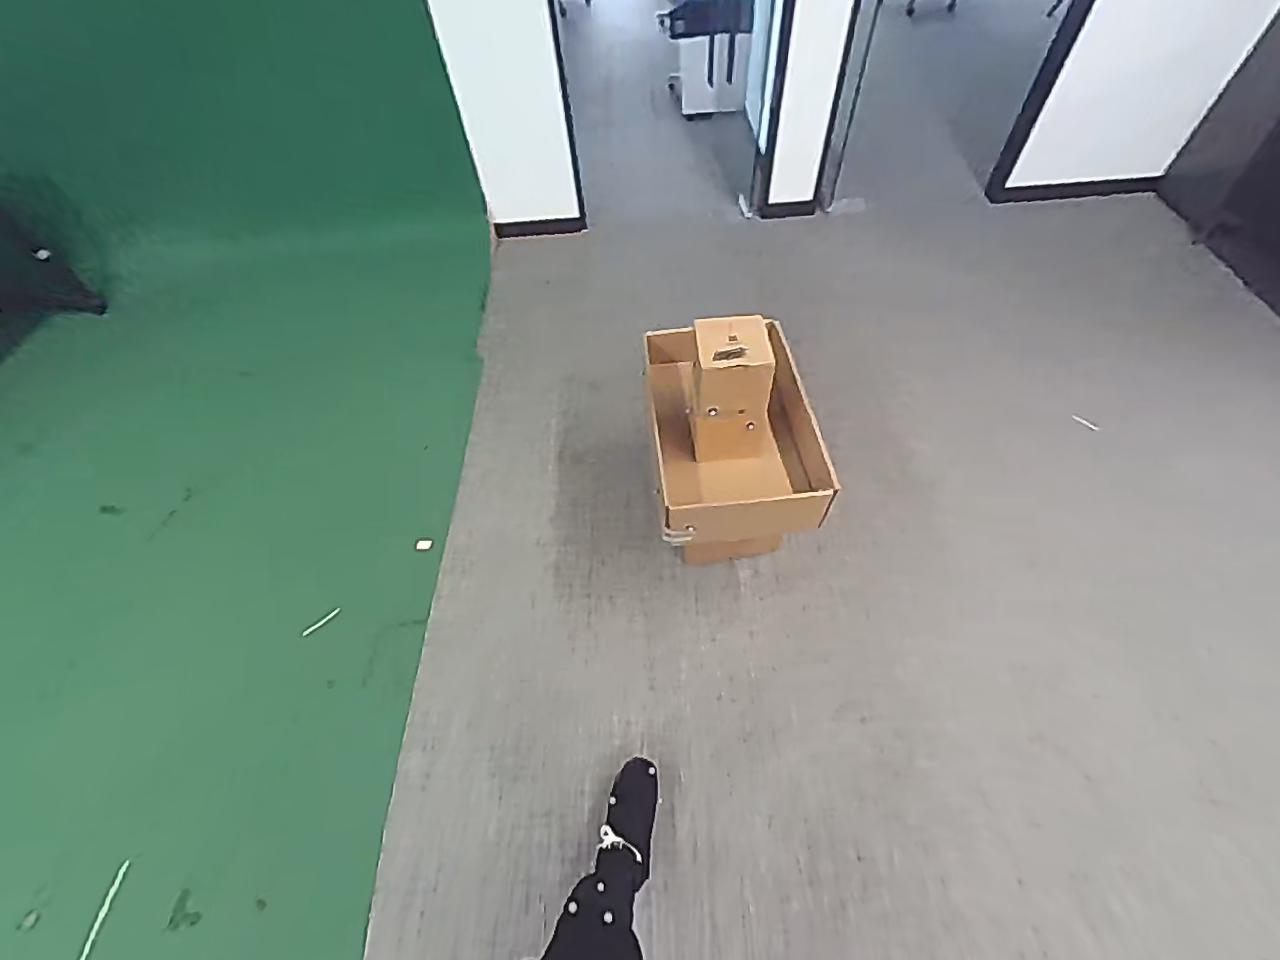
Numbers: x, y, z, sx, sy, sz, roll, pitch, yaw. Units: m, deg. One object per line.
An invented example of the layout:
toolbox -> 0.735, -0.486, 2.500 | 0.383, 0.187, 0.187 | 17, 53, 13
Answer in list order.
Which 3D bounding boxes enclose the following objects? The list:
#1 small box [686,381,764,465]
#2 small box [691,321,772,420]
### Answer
small box -> 0.218, -0.154, 1.426 | 0.179, 0.176, 0.168 | -5, 53, -1
small box -> 0.211, -0.256, 1.297 | 0.168, 0.176, 0.179 | -3, 53, 1
